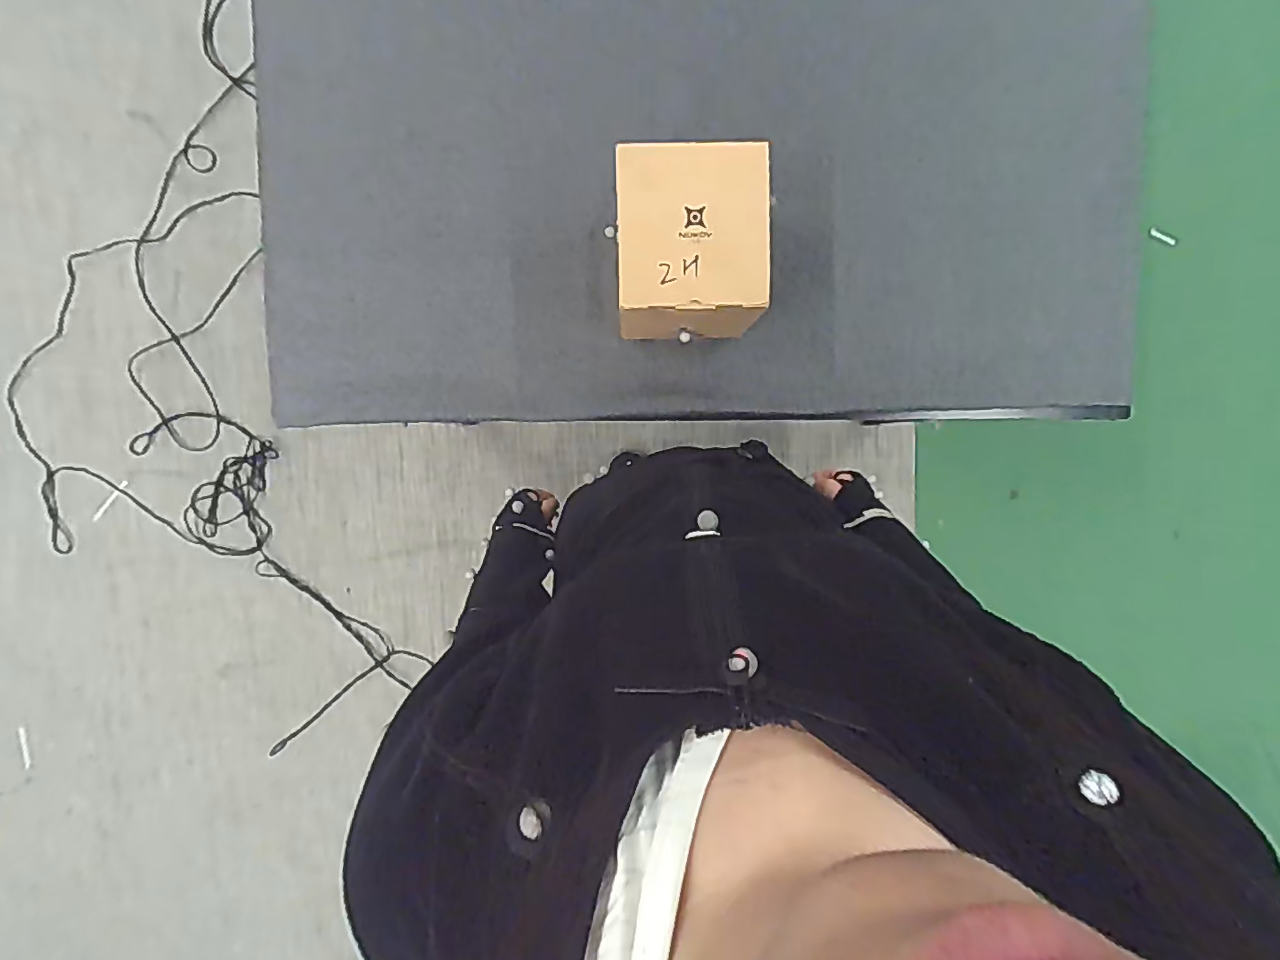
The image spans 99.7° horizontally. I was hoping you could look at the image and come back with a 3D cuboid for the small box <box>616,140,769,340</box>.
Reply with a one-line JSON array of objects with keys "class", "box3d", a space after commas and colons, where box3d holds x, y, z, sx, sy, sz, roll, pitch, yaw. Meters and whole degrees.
[{"class": "small box", "box3d": [0.054, -0.277, 0.656, 0.168, 0.176, 0.179, -1, 93, -1]}]
